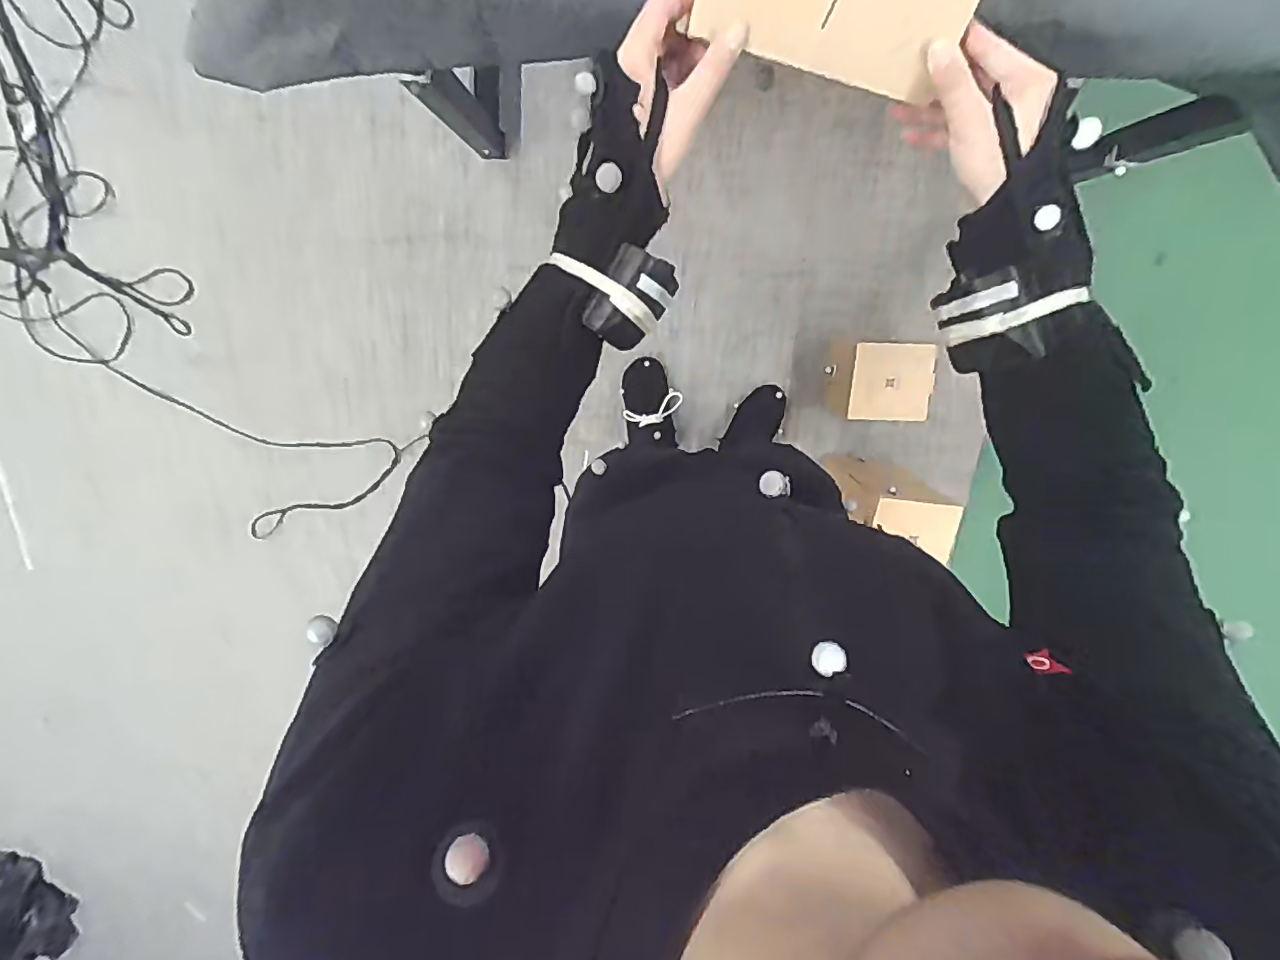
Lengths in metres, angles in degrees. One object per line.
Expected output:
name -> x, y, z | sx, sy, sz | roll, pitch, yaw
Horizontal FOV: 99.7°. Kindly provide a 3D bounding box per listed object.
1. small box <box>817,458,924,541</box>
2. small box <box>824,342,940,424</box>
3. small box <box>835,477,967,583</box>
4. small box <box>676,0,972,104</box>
small box -> 0.544, 0.049, 1.305 | 0.179, 0.176, 0.168 | 5, 108, 0
small box -> 0.538, -0.225, 1.223 | 0.179, 0.176, 0.168 | 1, 106, 1
small box -> 0.543, 0.100, 1.150 | 0.179, 0.176, 0.168 | 6, 107, -1
small box -> 0.122, -0.371, 0.346 | 0.168, 0.176, 0.179 | 10, 128, -7
